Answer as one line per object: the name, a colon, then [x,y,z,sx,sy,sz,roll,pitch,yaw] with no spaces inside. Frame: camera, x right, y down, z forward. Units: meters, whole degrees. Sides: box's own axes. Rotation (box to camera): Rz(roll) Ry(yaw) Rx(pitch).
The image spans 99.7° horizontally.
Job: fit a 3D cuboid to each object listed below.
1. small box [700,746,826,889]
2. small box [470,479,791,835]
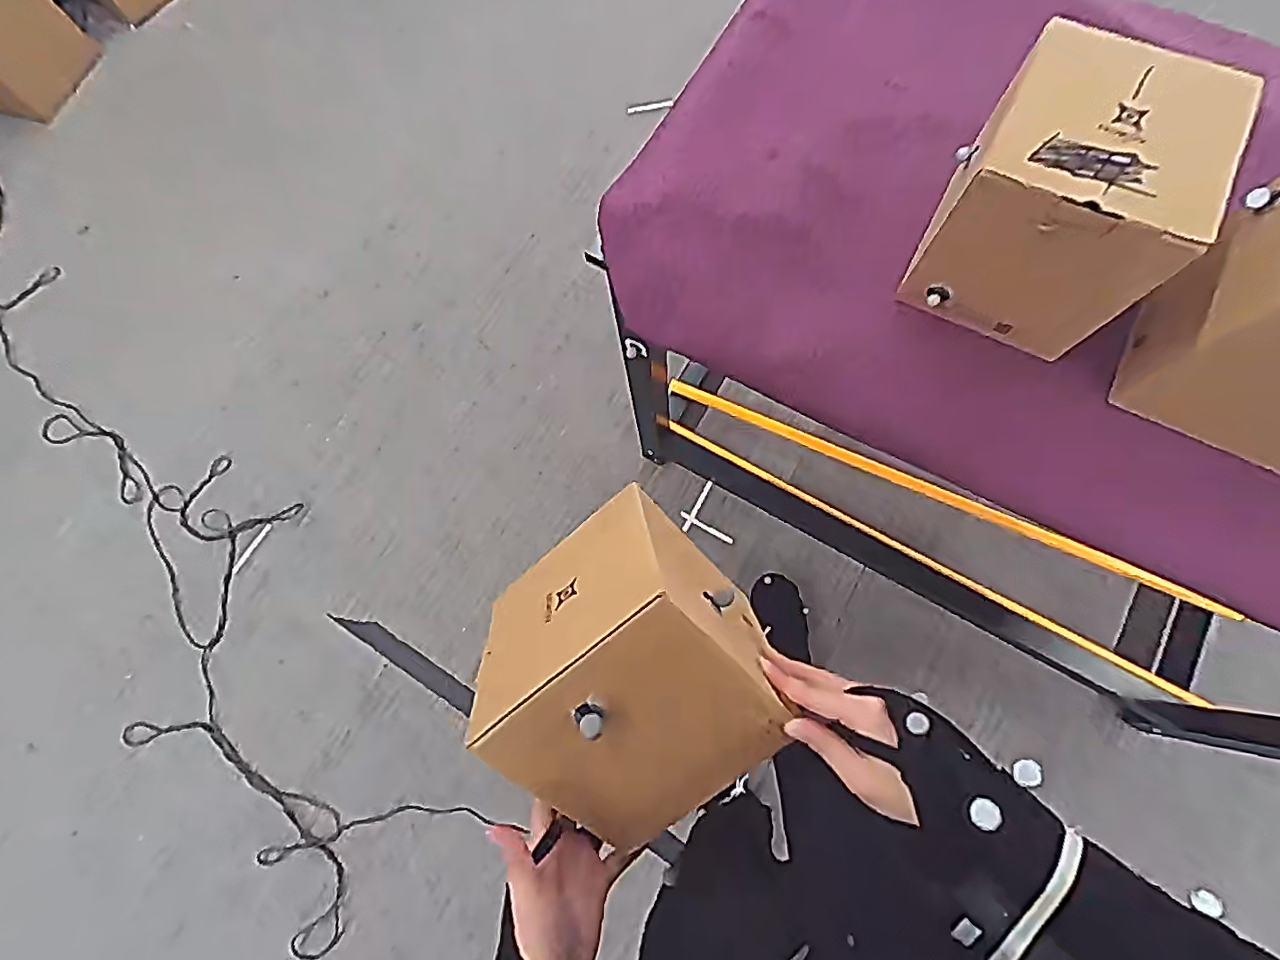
small box: [0.215,0.617,1.003,0.179,0.176,0.168,-20,71,-3]
small box: [-0.003,0.137,0.437,0.179,0.168,0.176,-41,112,10]
